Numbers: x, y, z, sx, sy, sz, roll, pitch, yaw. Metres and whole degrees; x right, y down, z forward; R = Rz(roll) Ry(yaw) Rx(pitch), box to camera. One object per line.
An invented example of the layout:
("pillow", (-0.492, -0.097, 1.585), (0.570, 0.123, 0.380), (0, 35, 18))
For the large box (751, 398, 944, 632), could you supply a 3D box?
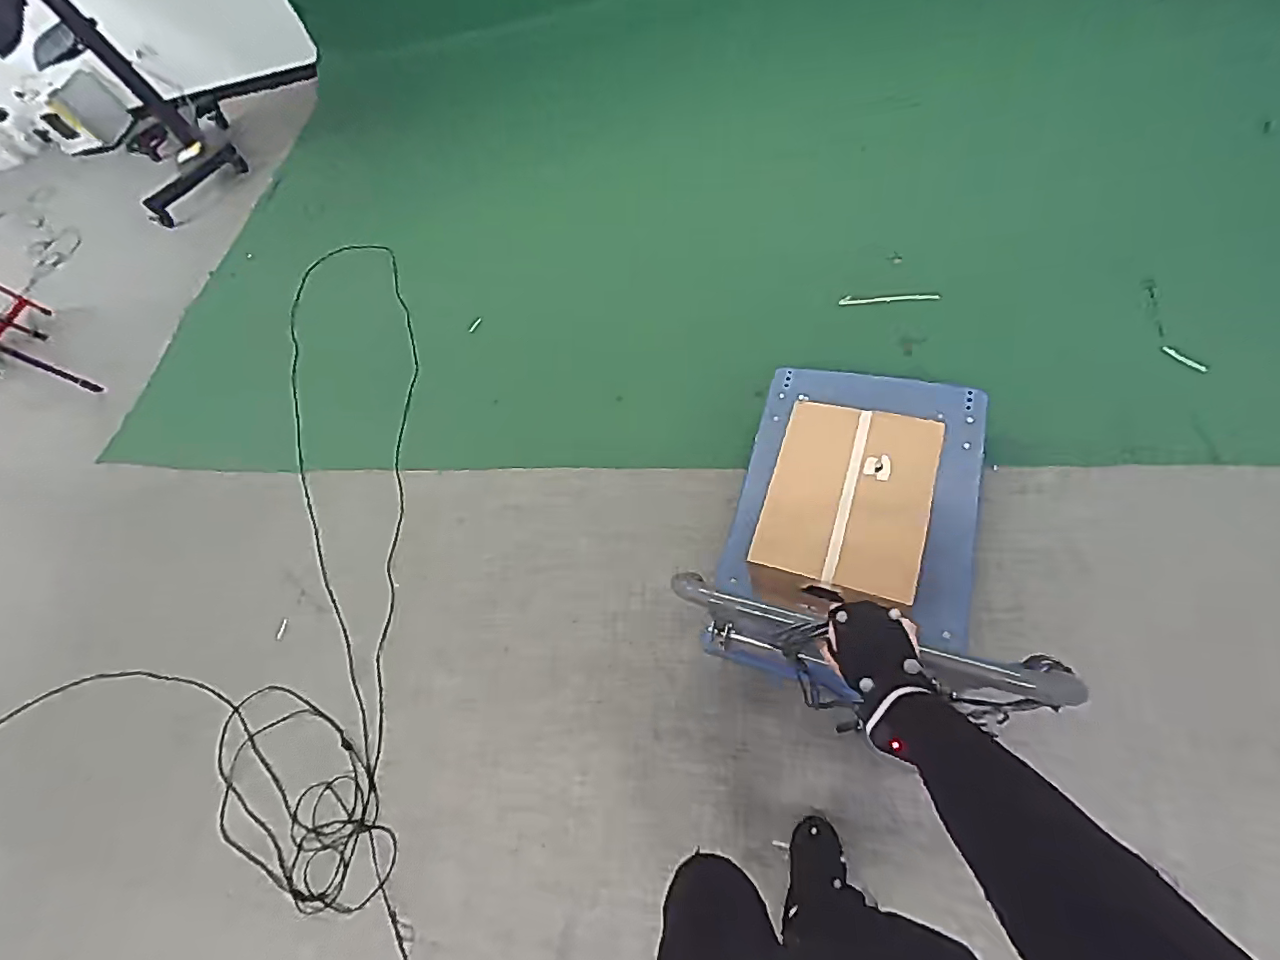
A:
("large box", (0.462, 0.084, 1.232), (0.320, 0.320, 0.408), (14, 68, 21))
